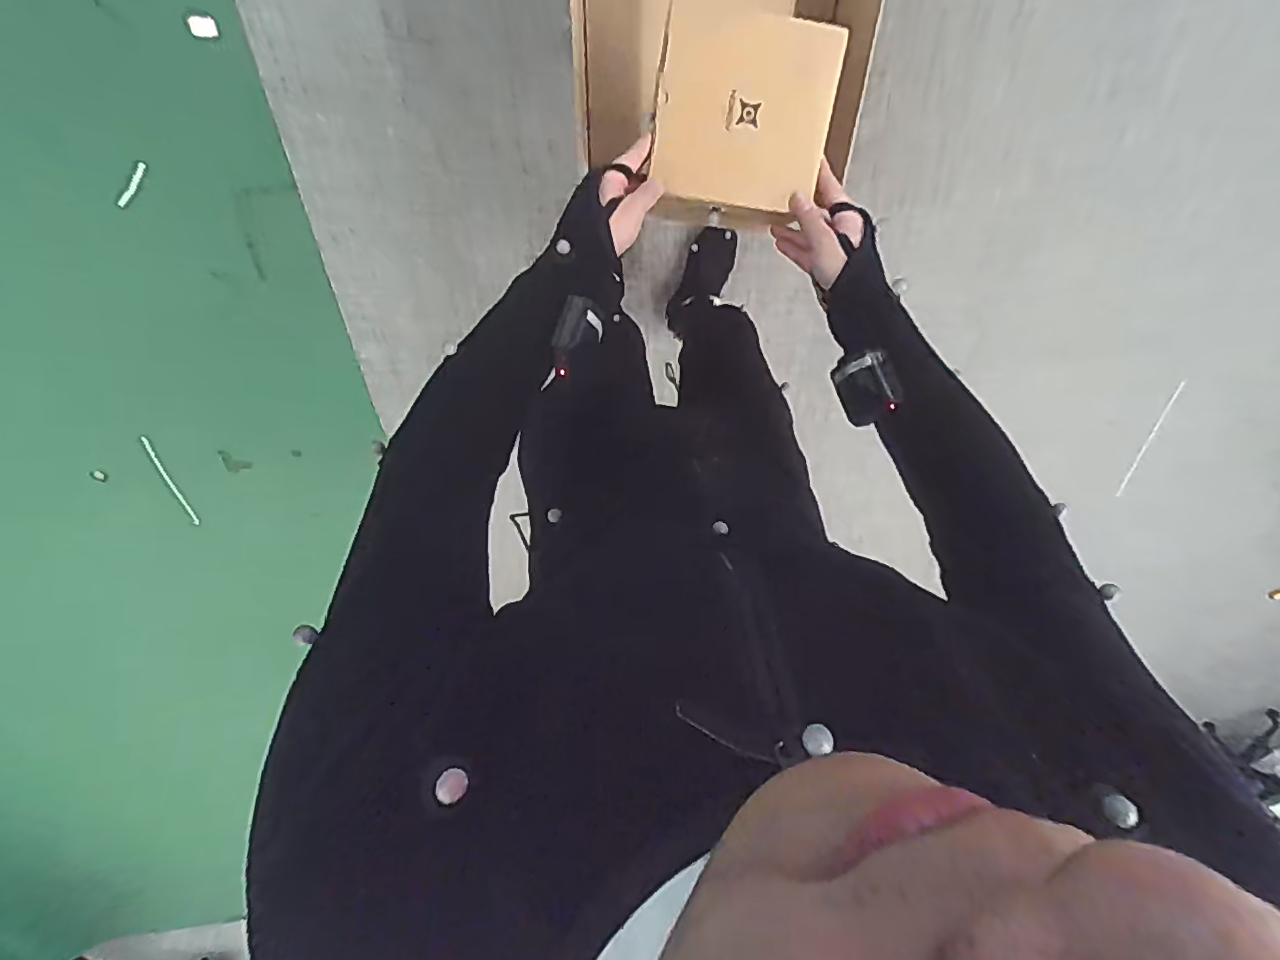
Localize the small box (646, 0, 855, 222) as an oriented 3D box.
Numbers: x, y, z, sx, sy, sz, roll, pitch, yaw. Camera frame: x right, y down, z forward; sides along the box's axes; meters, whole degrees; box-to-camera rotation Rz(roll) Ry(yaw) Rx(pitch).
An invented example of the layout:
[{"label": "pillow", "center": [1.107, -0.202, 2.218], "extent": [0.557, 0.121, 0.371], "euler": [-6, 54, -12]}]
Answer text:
[{"label": "small box", "center": [0.105, -0.395, 0.606], "extent": [0.179, 0.176, 0.168], "euler": [7, 109, -4]}]
